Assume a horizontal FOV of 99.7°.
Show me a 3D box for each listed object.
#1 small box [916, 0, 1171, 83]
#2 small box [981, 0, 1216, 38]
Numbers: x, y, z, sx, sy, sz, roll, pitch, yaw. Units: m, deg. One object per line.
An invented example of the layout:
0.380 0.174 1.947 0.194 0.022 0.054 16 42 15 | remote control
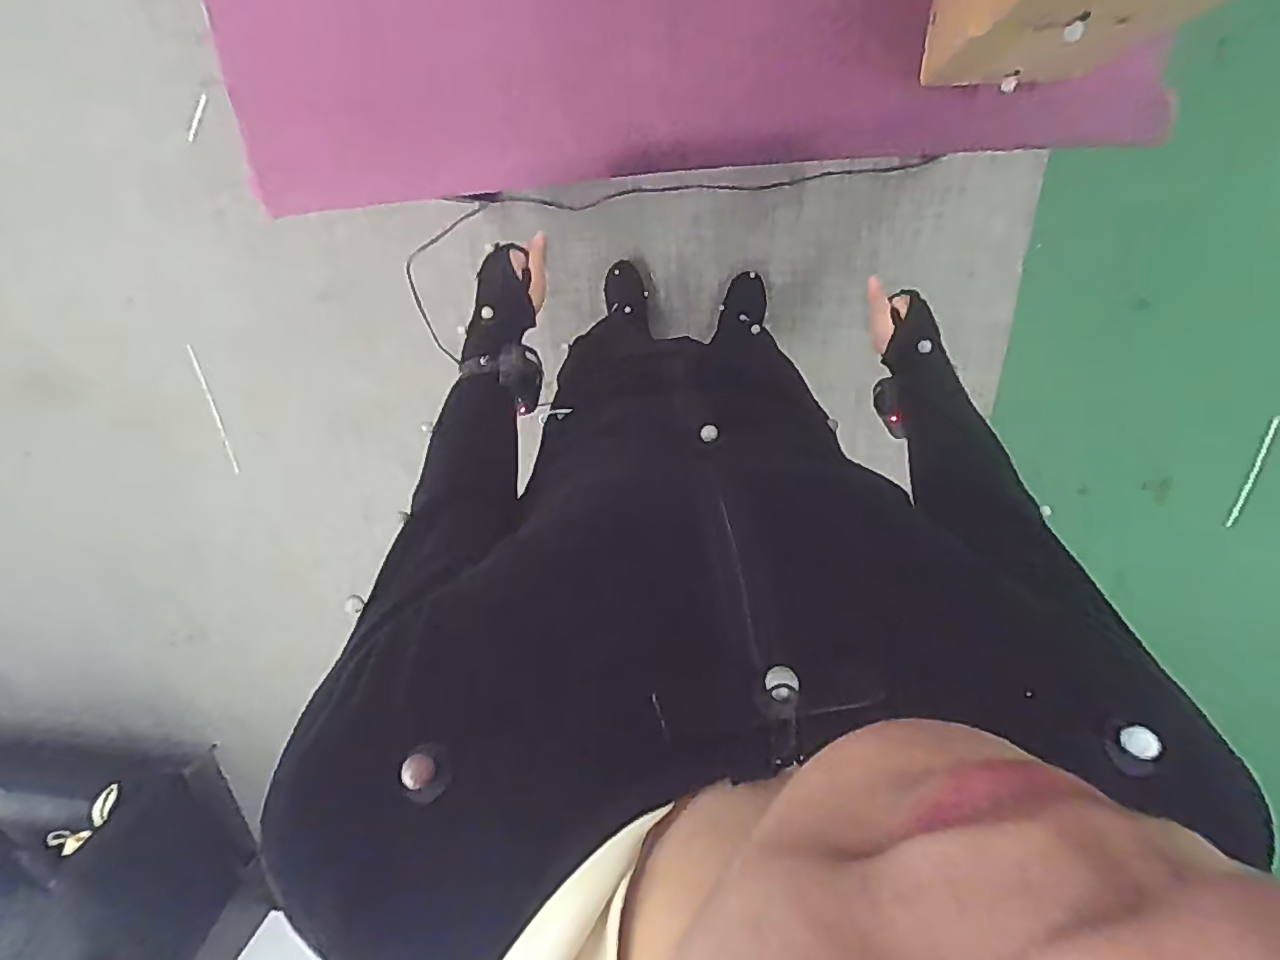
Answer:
0.402 -0.515 0.534 0.179 0.176 0.168 5 113 9 | small box
0.375 -0.455 0.385 0.168 0.176 0.179 5 114 11 | small box
